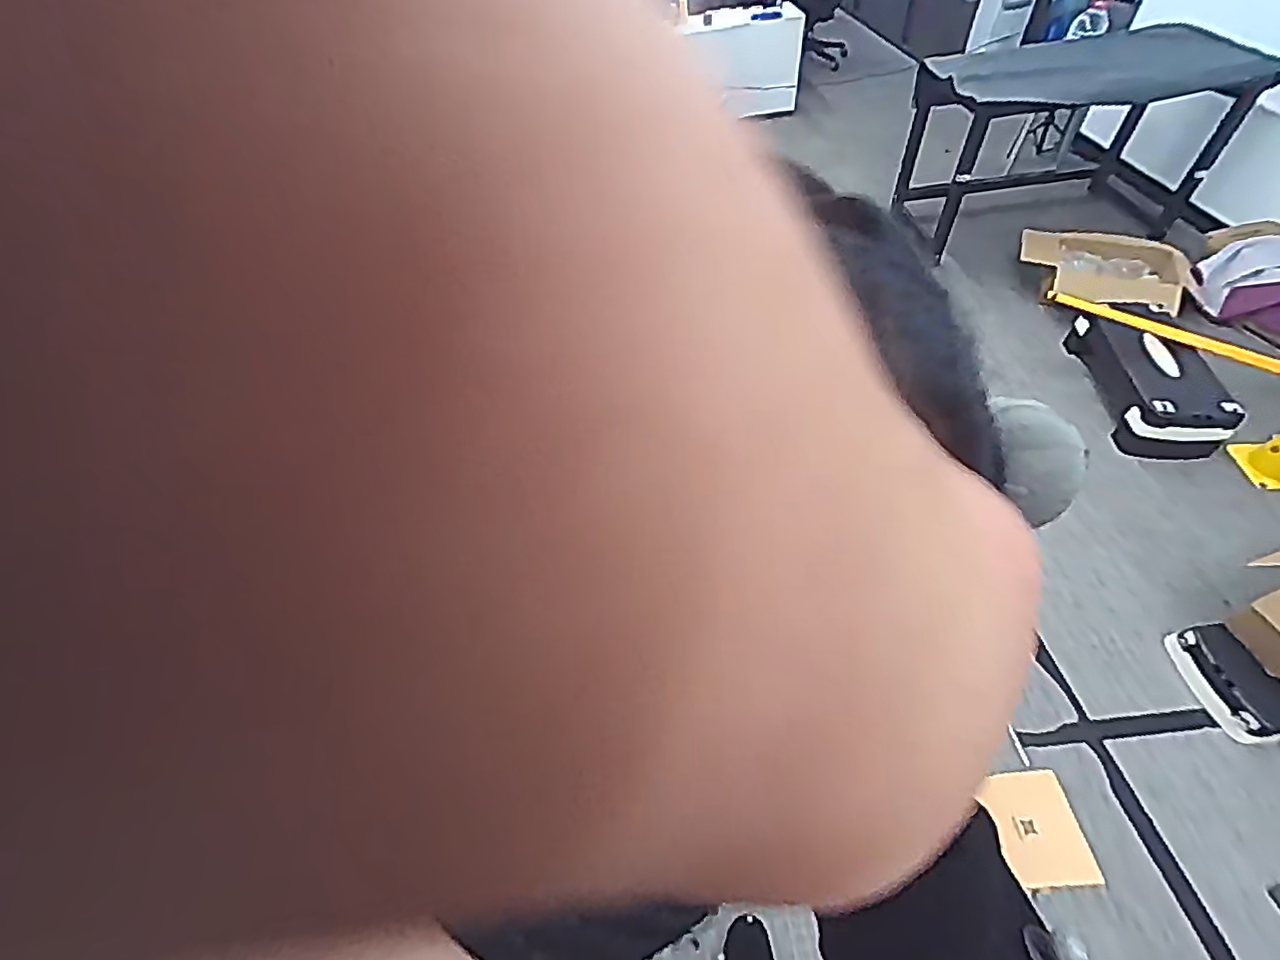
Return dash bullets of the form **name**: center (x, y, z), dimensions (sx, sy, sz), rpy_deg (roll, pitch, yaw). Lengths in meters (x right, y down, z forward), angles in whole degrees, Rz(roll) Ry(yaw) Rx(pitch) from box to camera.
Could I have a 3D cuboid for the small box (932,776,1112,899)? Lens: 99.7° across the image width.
- **small box**: center (0.662, 0.638, 0.964), dimensions (0.179, 0.176, 0.168), rpy_deg (-6, 52, 2)
